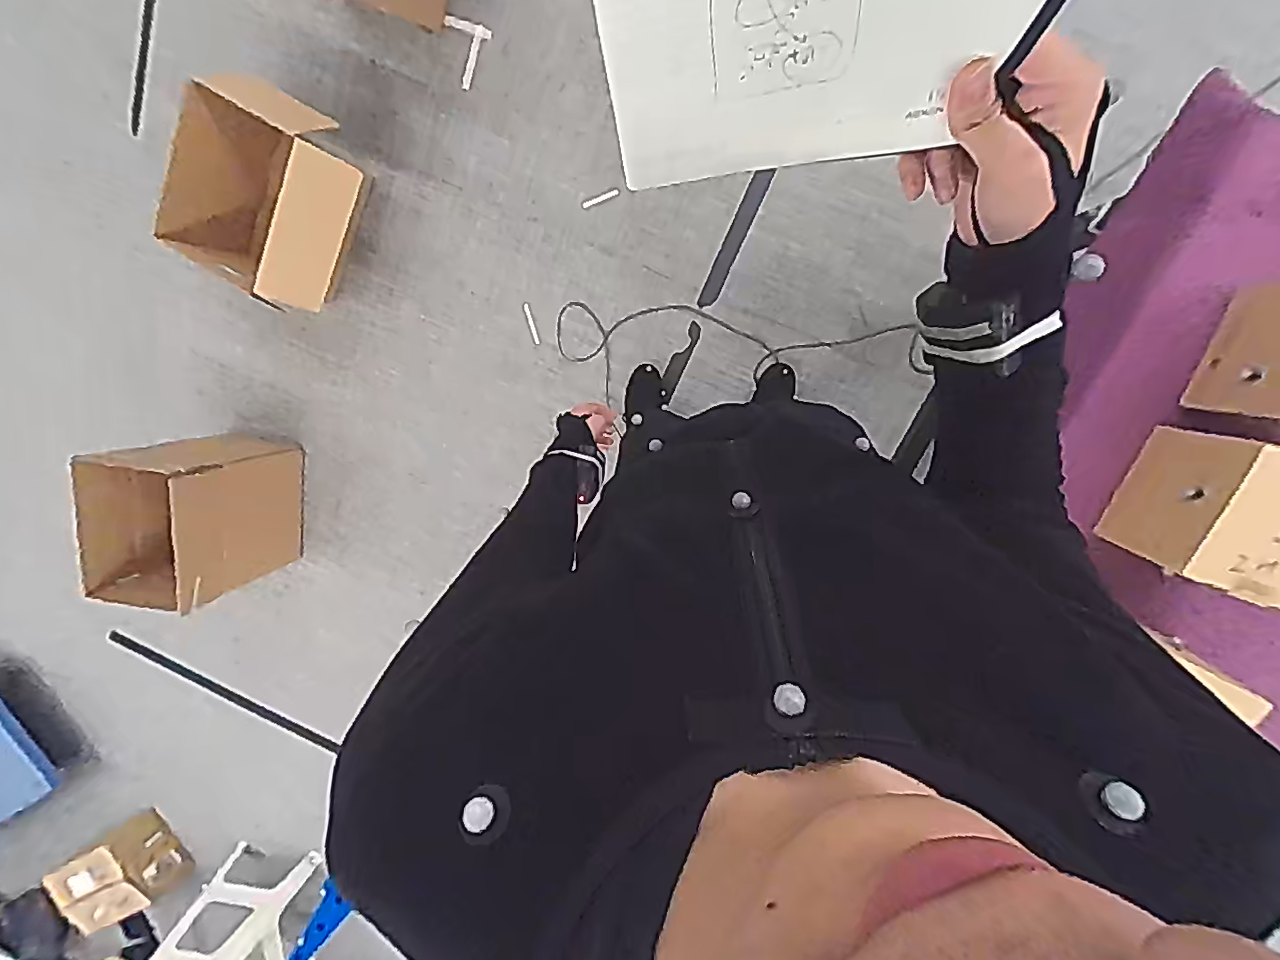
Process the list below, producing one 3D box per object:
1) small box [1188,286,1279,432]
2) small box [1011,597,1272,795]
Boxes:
[{"bbox_3d":[0.846,-0.138,0.652,0.179,0.176,0.168,17,106,4],"label":"small box"},{"bbox_3d":[0.689,0.292,0.774,0.179,0.176,0.168,27,106,1],"label":"small box"}]
